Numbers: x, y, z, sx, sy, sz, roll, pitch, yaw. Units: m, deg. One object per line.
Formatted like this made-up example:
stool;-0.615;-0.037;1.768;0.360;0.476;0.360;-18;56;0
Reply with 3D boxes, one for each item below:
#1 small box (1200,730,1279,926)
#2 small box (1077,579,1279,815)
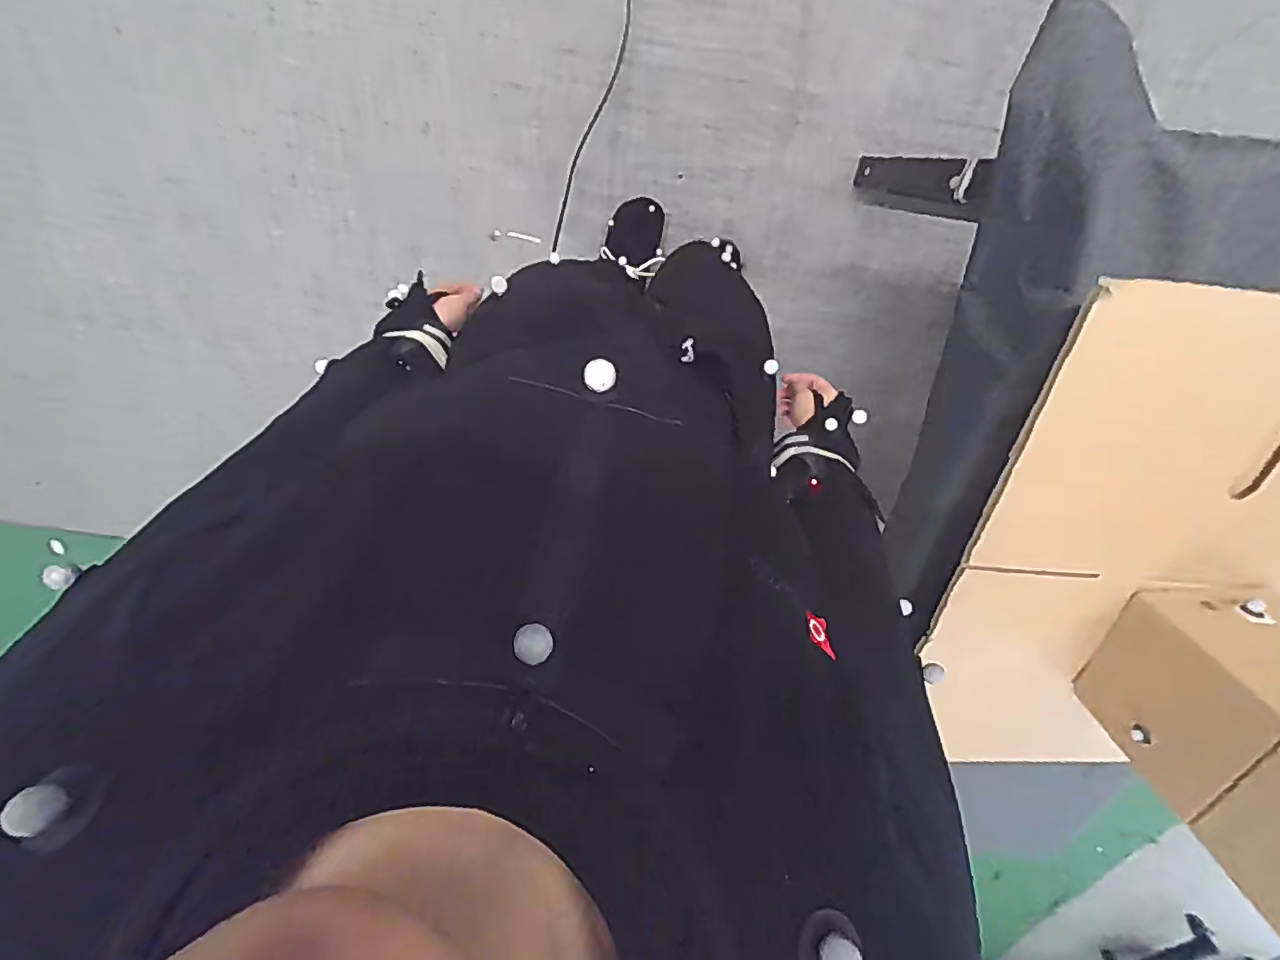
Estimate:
small box;0.646;0.319;0.449;0.168;0.176;0.179;-3;123;-2
small box;0.633;0.229;0.586;0.168;0.176;0.179;-3;122;-3
